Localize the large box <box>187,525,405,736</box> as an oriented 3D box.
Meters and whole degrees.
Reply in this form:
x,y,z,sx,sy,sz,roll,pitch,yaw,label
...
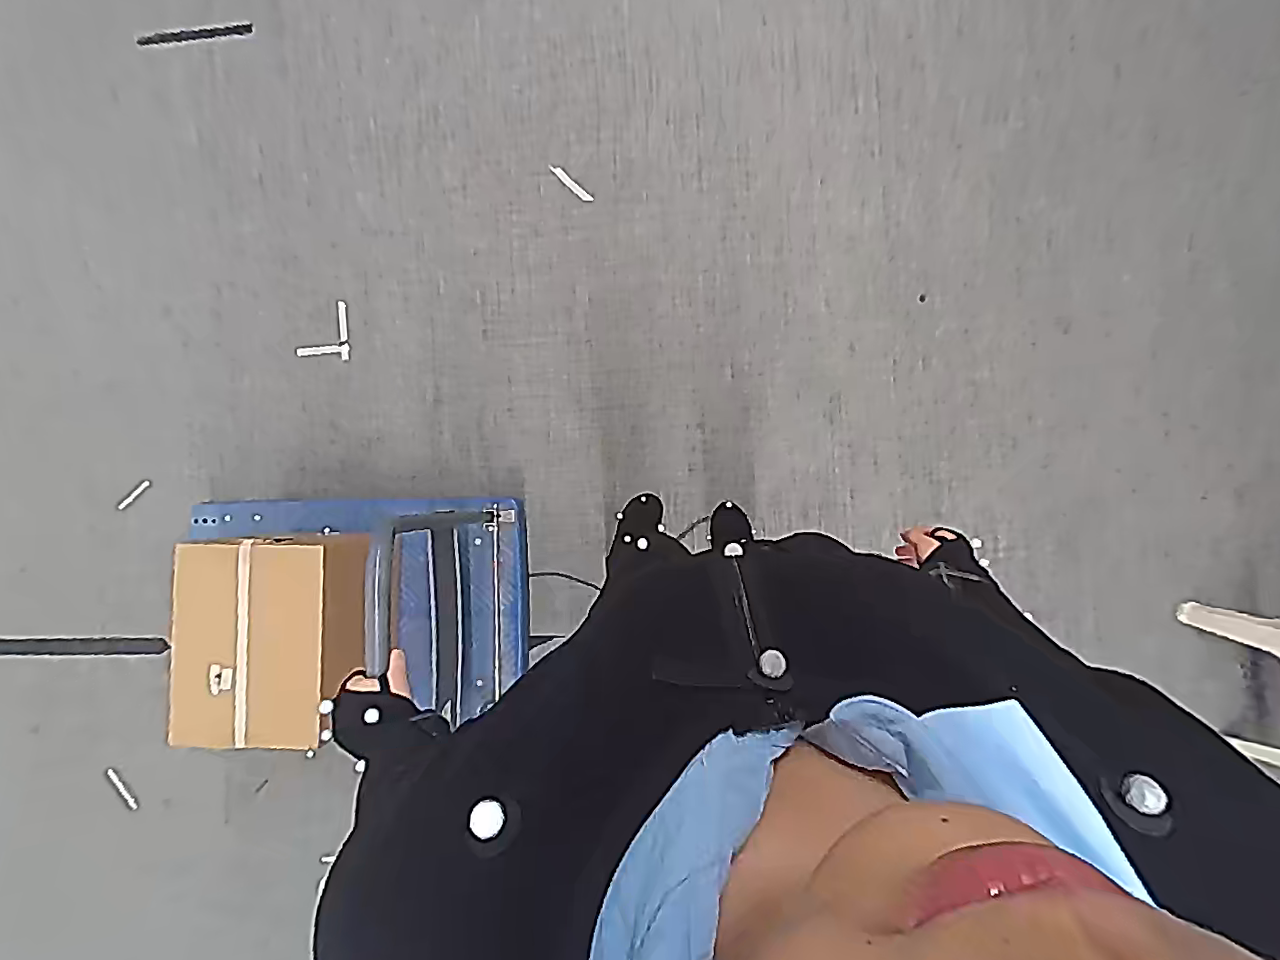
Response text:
x,y,z,sx,sy,sz,roll,pitch,yaw,label
-0.758,0.313,1.236,0.320,0.320,0.408,0,89,4,large box
